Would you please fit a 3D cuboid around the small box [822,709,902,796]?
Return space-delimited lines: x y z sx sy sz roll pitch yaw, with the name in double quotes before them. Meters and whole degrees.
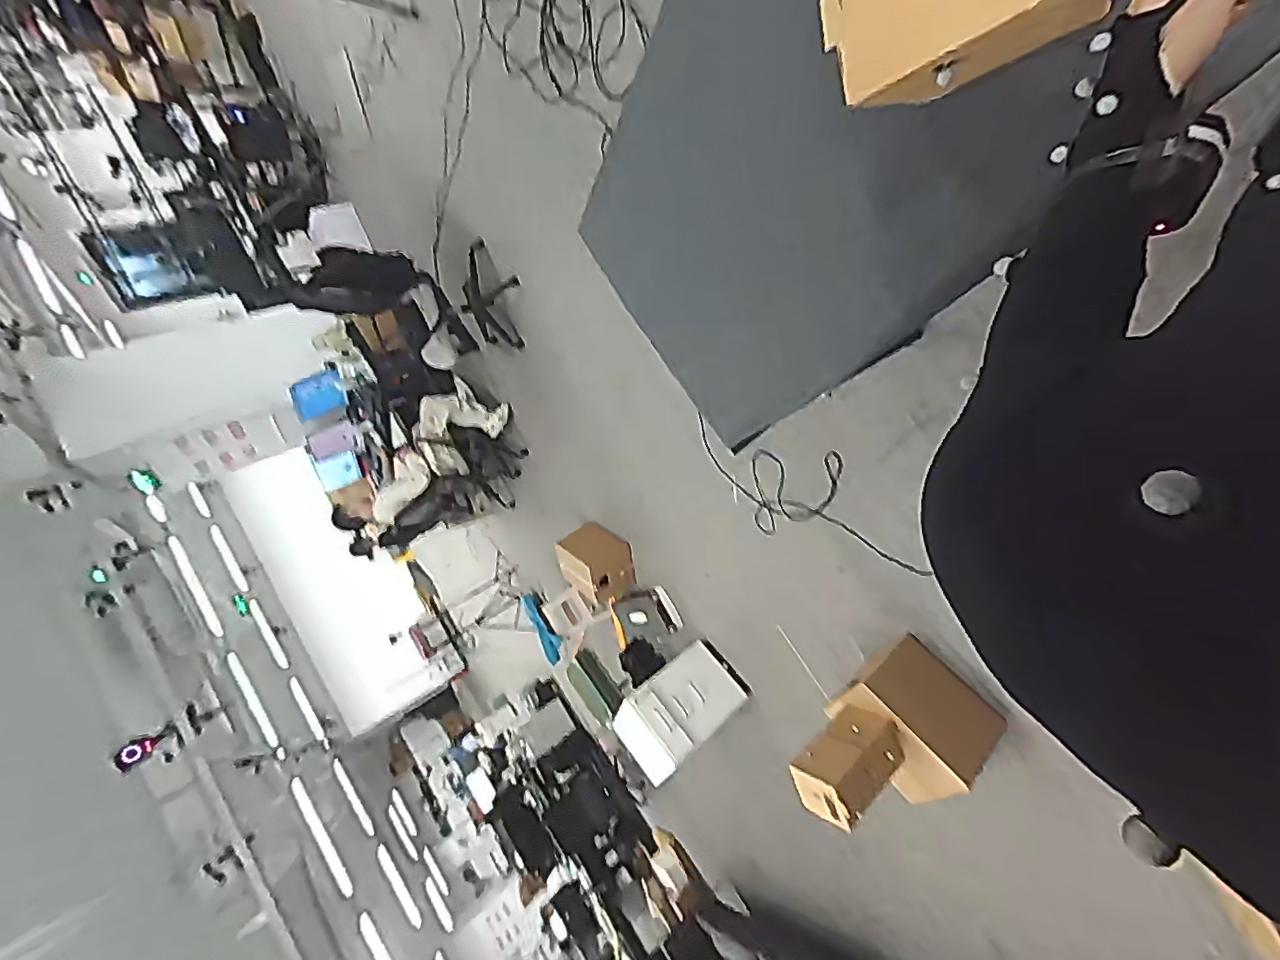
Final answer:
"small box" 0.741 0.891 1.789 0.179 0.176 0.168 -7 108 55

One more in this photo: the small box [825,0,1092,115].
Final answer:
"small box" 0.301 -0.480 0.511 0.179 0.176 0.168 7 119 55
